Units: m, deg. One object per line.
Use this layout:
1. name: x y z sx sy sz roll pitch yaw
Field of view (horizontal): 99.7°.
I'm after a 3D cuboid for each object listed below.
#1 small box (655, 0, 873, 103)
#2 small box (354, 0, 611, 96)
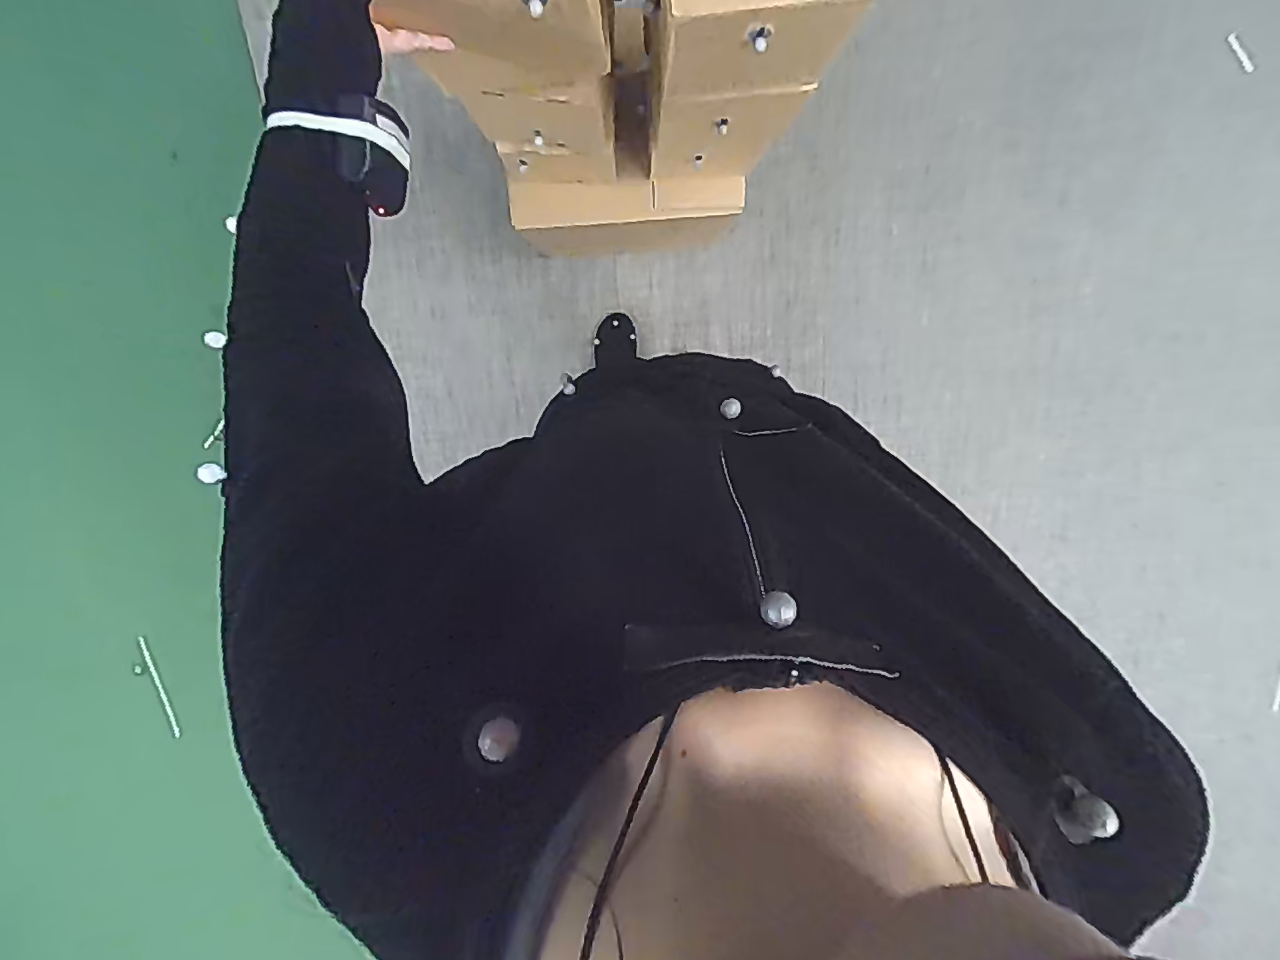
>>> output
1. small box: 0.101 -0.478 0.500 0.179 0.176 0.168 -5 106 1
2. small box: -0.128 -0.458 0.457 0.179 0.176 0.168 -4 103 6
